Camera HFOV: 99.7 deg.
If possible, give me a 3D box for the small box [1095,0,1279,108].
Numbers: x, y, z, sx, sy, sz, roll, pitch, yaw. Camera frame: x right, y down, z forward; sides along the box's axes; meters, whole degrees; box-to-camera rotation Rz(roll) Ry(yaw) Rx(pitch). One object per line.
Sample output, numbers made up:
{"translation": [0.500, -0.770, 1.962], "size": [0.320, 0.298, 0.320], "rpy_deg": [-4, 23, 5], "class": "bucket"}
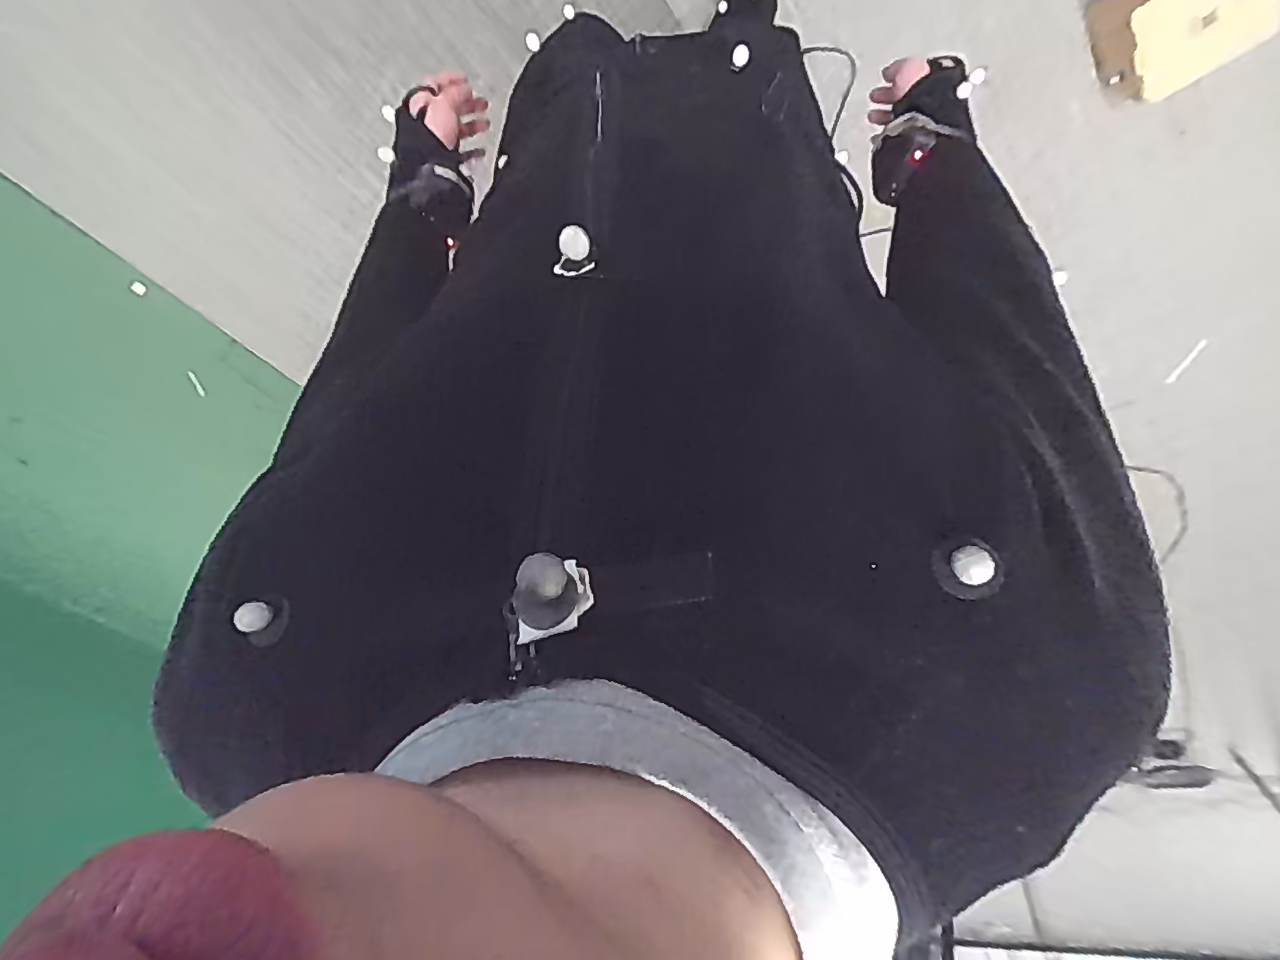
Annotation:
{"translation": [0.926, -0.793, 0.930], "size": [0.179, 0.176, 0.168], "rpy_deg": [-27, 125, 32], "class": "small box"}
